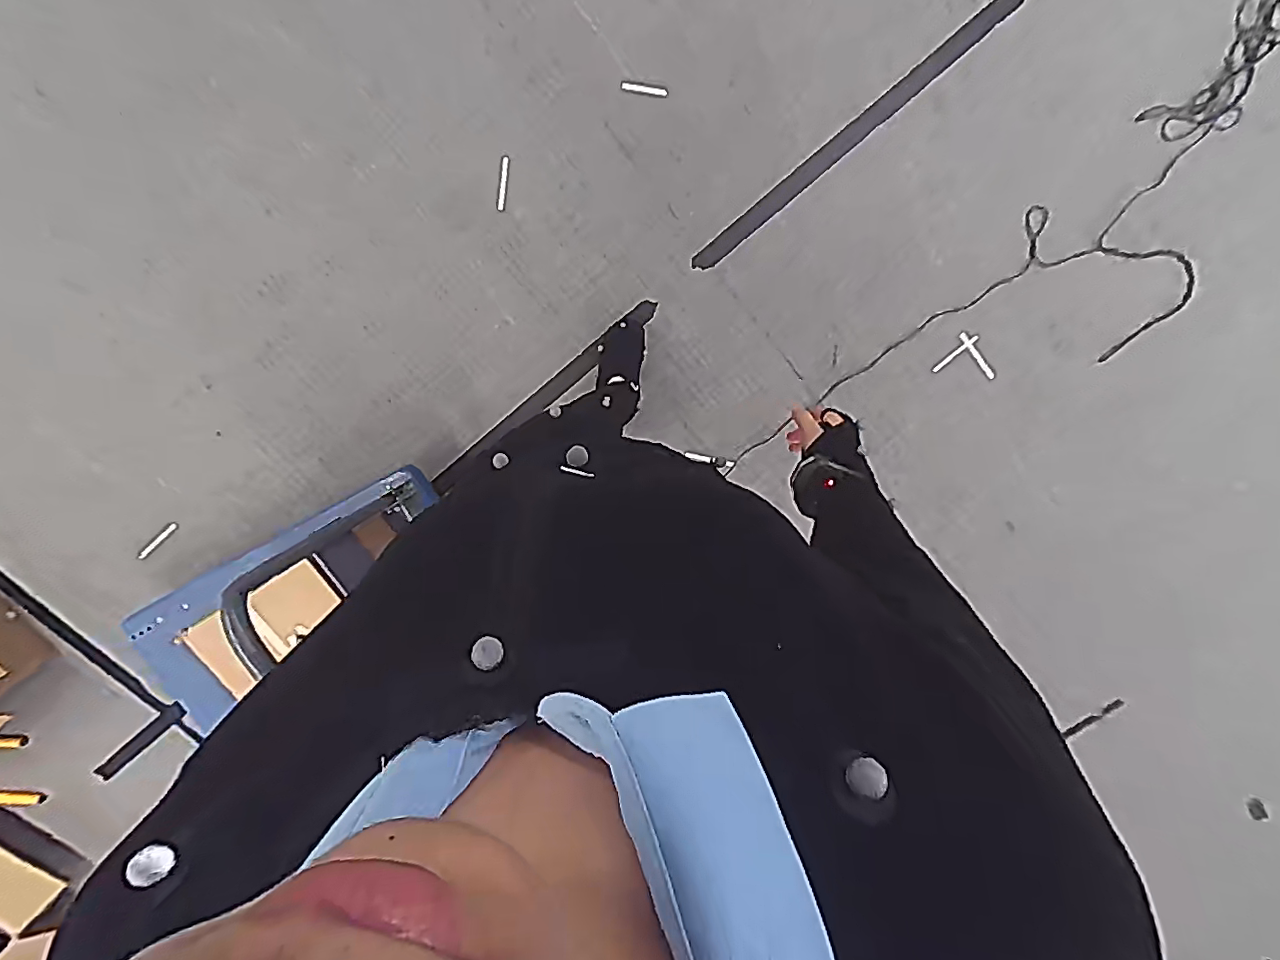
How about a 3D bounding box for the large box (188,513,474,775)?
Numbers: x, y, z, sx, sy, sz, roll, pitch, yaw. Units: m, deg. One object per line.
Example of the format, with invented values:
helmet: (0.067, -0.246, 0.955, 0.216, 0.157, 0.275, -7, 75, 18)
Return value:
large box: (-0.652, 0.347, 1.220, 0.320, 0.320, 0.408, -32, 101, 5)
